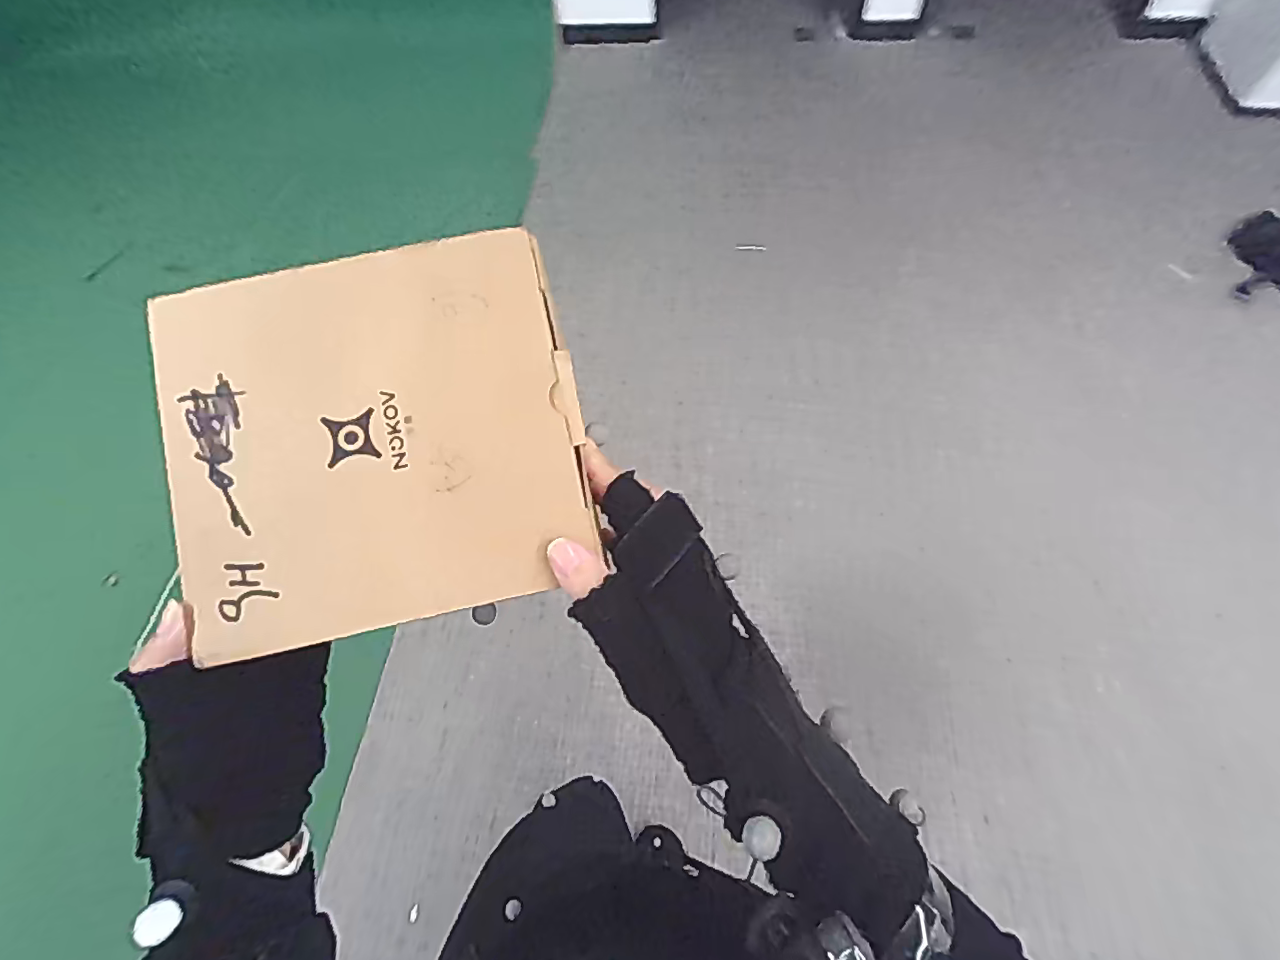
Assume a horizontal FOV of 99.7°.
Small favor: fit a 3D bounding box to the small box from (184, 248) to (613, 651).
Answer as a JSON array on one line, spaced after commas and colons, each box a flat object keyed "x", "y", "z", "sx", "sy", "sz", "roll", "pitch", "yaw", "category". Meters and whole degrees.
[{"x": -0.117, "y": -0.009, "z": 0.327, "sx": 0.179, "sy": 0.176, "sz": 0.168, "roll": -11, "pitch": 82, "yaw": -4, "category": "small box"}]
